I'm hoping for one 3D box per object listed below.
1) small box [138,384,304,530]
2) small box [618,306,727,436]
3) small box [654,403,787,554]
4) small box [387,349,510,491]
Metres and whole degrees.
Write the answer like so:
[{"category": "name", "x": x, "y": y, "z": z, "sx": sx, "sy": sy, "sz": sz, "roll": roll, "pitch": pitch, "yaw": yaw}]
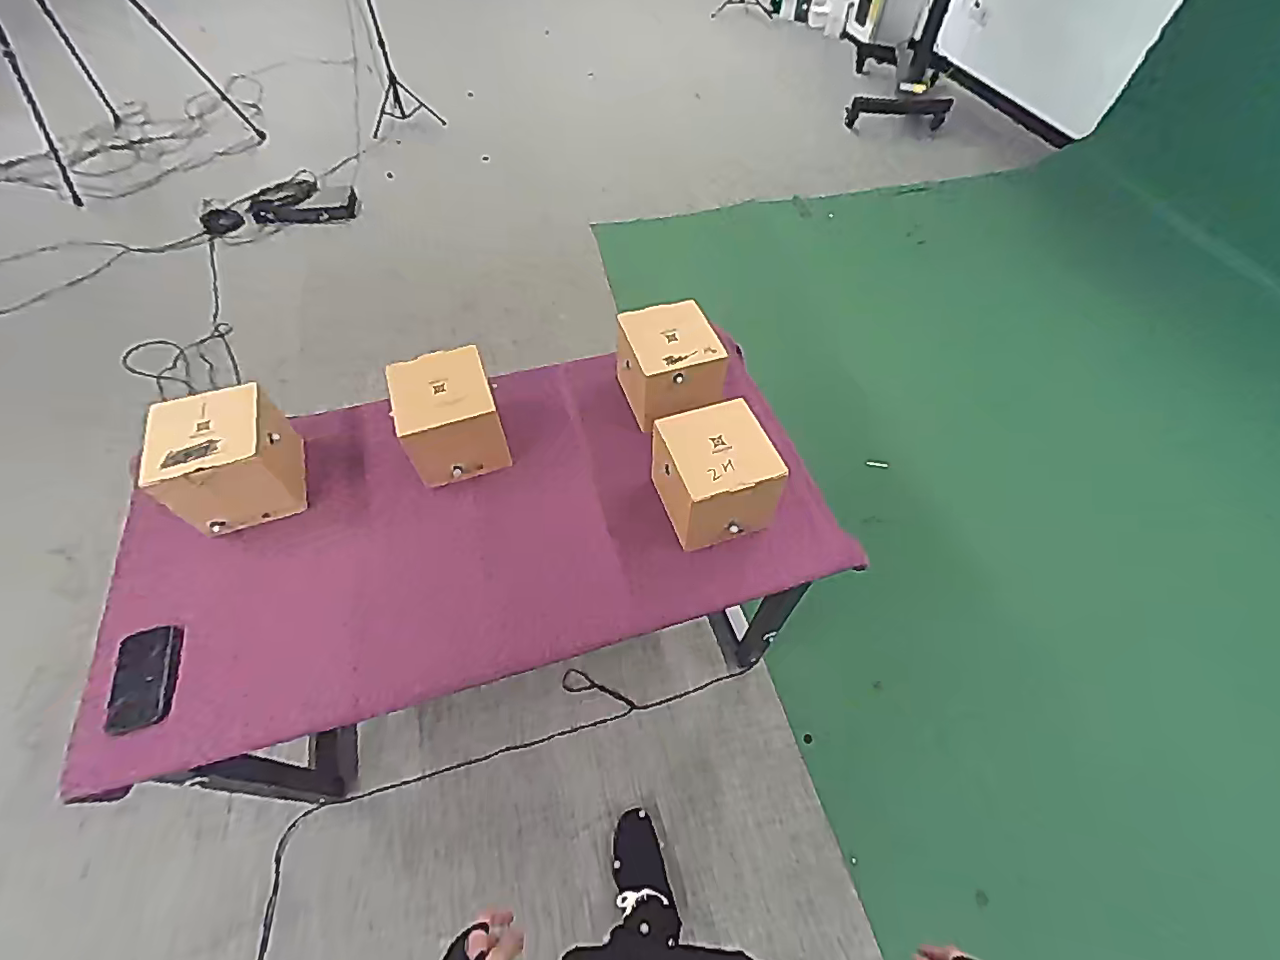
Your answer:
[{"category": "small box", "x": -0.707, "y": -0.032, "z": 0.935, "sx": 0.168, "sy": 0.176, "sz": 0.179, "roll": -16, "pitch": 57, "yaw": -13}, {"category": "small box", "x": 0.056, "y": -0.218, "z": 1.090, "sx": 0.168, "sy": 0.176, "sz": 0.179, "roll": -16, "pitch": 57, "yaw": -11}, {"category": "small box", "x": 0.126, "y": -0.001, "z": 0.936, "sx": 0.168, "sy": 0.176, "sz": 0.179, "roll": -15, "pitch": 56, "yaw": -10}, {"category": "small box", "x": -0.351, "y": -0.110, "z": 1.004, "sx": 0.168, "sy": 0.176, "sz": 0.179, "roll": -17, "pitch": 58, "yaw": -12}]
